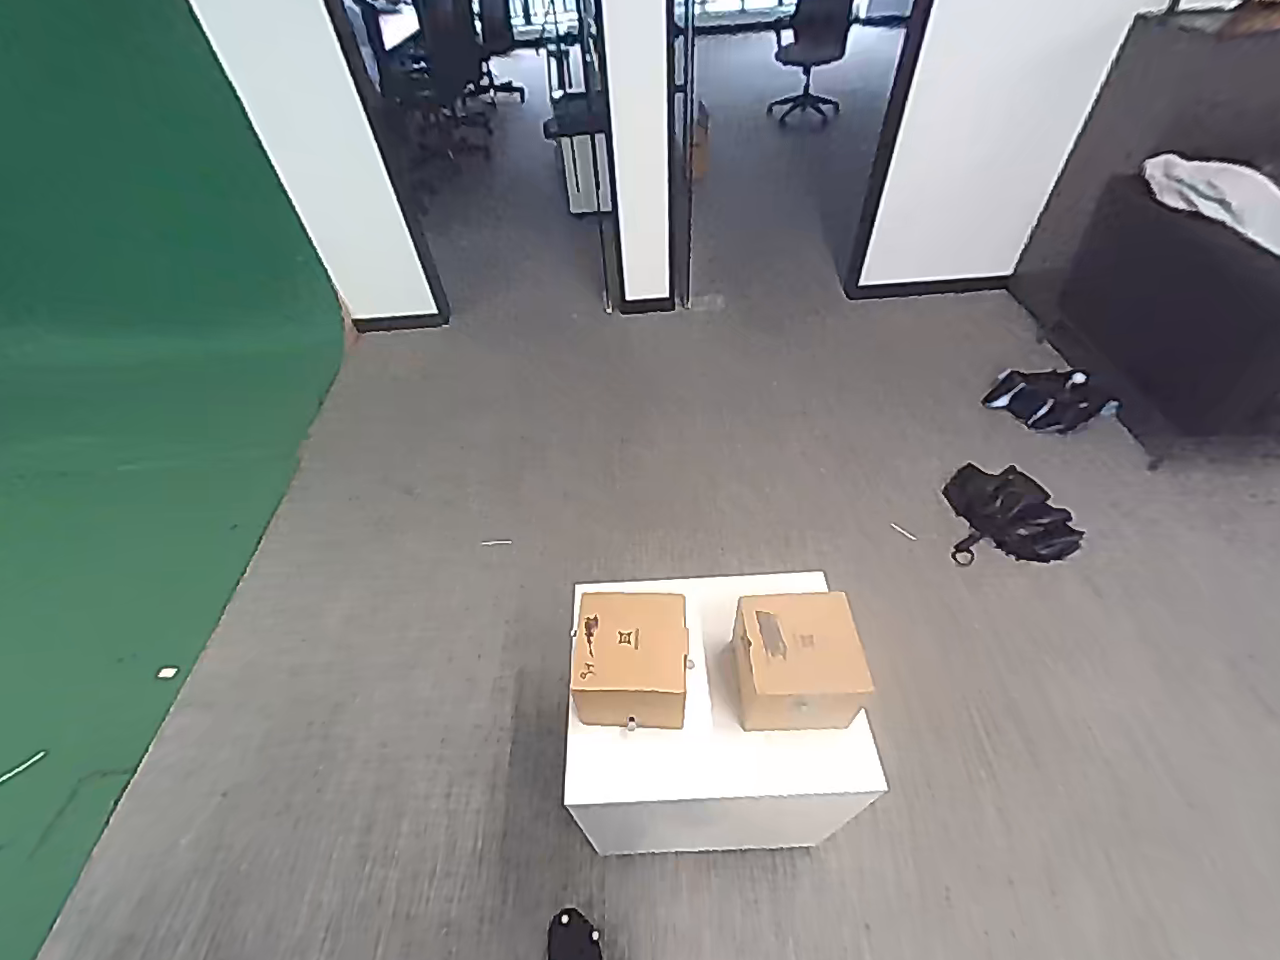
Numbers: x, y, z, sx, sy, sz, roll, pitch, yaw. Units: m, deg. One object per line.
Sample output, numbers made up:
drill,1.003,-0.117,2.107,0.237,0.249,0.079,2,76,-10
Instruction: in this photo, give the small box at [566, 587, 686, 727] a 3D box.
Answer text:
small box,-0.021,0.295,0.893,0.179,0.176,0.168,2,48,0

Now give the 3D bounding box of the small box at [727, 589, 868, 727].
small box,0.244,0.296,0.892,0.179,0.176,0.168,-1,48,-2
